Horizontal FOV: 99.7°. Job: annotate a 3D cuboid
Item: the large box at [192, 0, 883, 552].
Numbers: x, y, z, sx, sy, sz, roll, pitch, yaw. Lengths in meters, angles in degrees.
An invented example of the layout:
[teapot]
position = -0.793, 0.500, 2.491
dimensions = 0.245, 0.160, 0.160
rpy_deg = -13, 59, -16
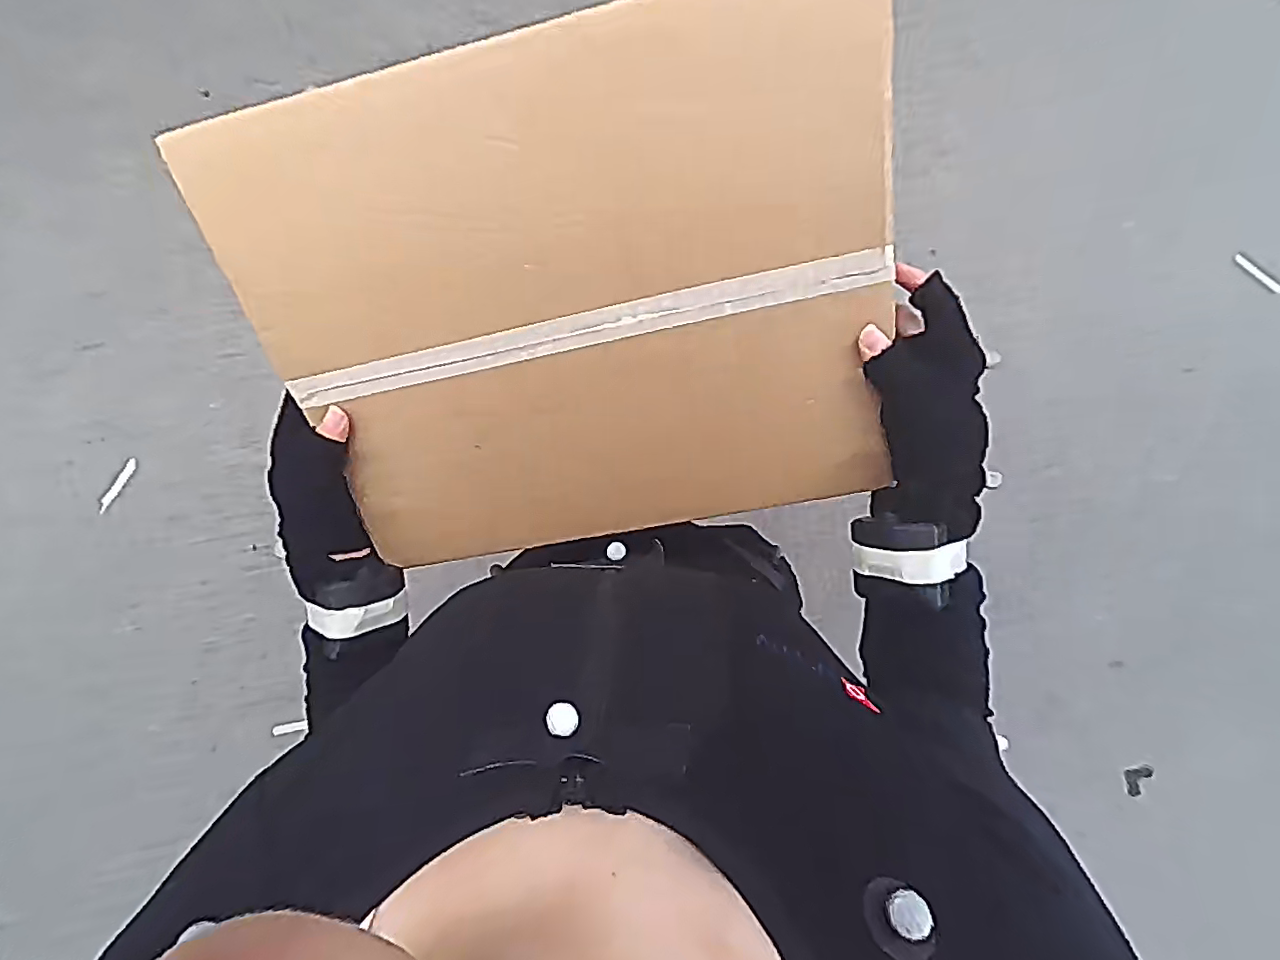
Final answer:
[large box]
position = -0.043, -0.176, 0.494
dimensions = 0.408, 0.320, 0.320
rpy_deg = -11, 118, 7
